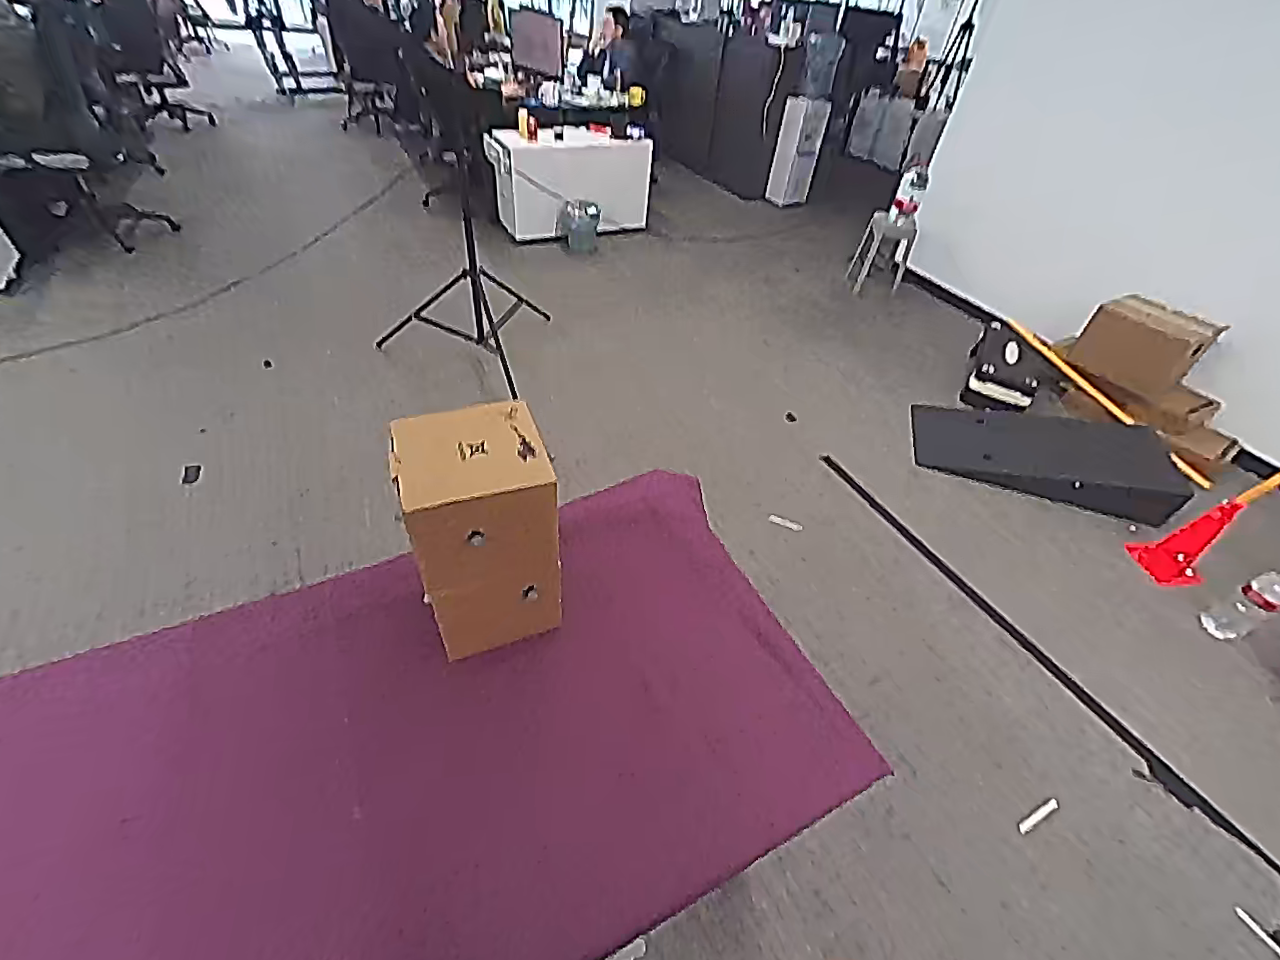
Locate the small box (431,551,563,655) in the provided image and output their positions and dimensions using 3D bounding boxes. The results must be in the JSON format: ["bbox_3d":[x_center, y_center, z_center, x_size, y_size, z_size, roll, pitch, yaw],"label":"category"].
[{"bbox_3d":[-0.224,0.137,0.827,0.179,0.176,0.168,-14,48,-20],"label":"small box"}]

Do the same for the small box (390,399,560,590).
[{"bbox_3d":[-0.212,0.020,0.713,0.179,0.176,0.168,-13,49,-18],"label":"small box"}]
